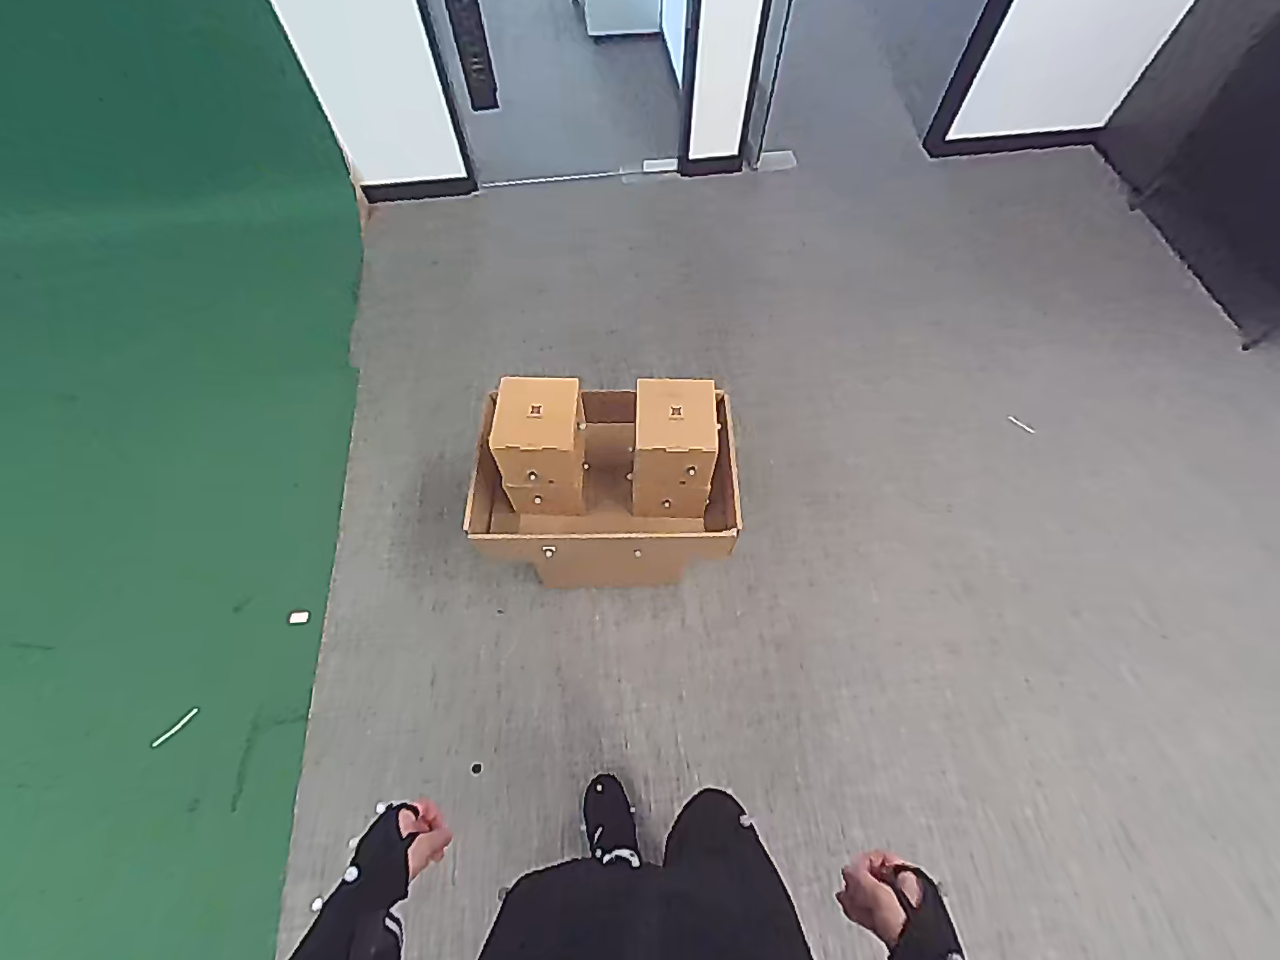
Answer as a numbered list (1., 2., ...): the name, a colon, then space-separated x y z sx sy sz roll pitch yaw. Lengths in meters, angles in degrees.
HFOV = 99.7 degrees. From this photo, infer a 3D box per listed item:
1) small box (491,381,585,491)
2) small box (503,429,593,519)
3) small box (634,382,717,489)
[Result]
1. small box: -0.212 -0.094 1.176 0.168 0.176 0.179 1 62 0
2. small box: -0.217 -0.014 1.317 0.179 0.176 0.168 2 62 2
3. small box: 0.073 -0.091 1.170 0.168 0.176 0.179 1 61 0
